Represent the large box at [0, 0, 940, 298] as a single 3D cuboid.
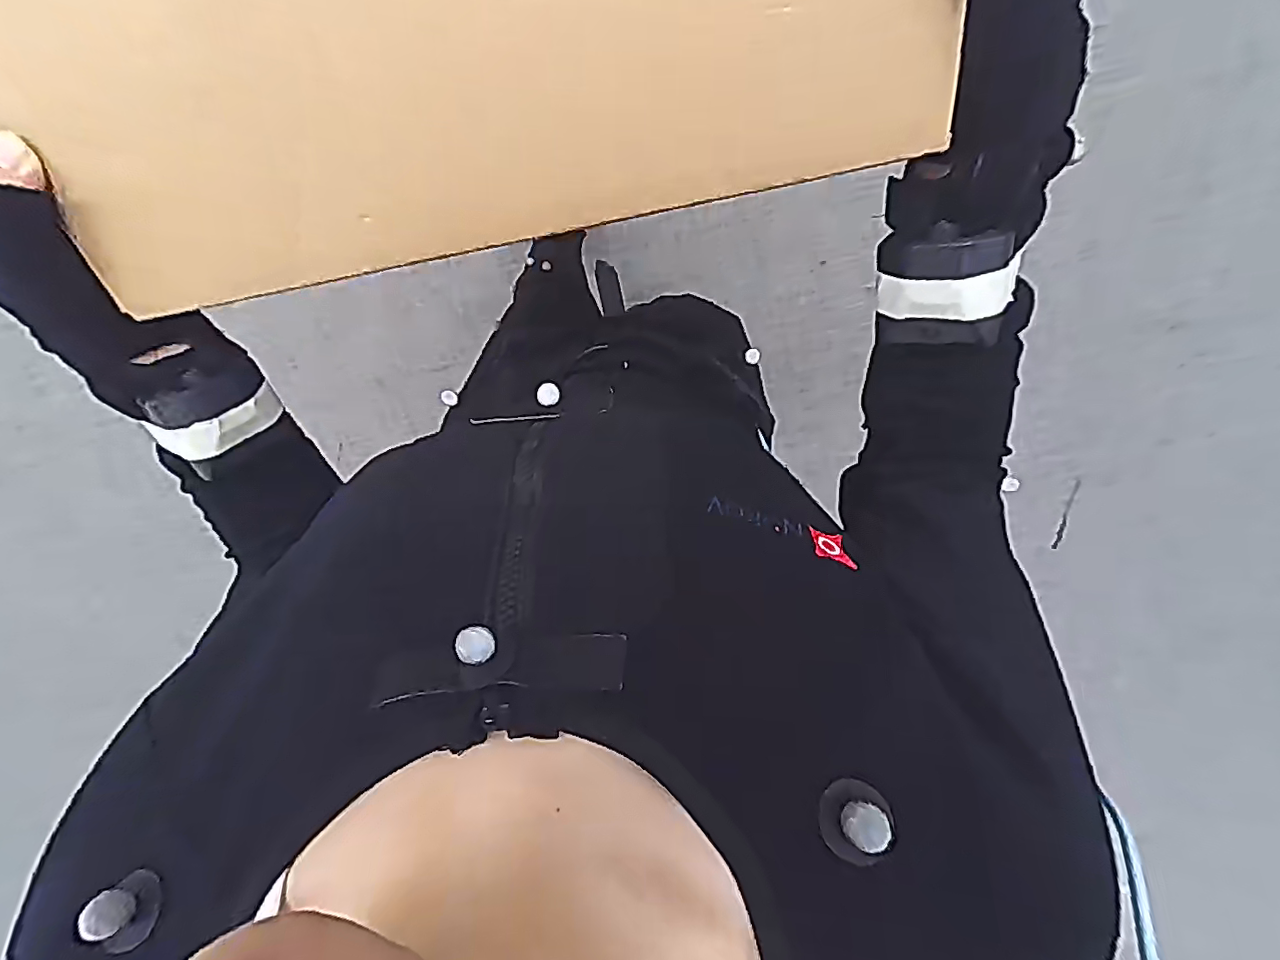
[{"bbox_3d":[-0.094,-0.335,0.310,0.408,0.320,0.320,-10,124,5],"label":"large box"}]
